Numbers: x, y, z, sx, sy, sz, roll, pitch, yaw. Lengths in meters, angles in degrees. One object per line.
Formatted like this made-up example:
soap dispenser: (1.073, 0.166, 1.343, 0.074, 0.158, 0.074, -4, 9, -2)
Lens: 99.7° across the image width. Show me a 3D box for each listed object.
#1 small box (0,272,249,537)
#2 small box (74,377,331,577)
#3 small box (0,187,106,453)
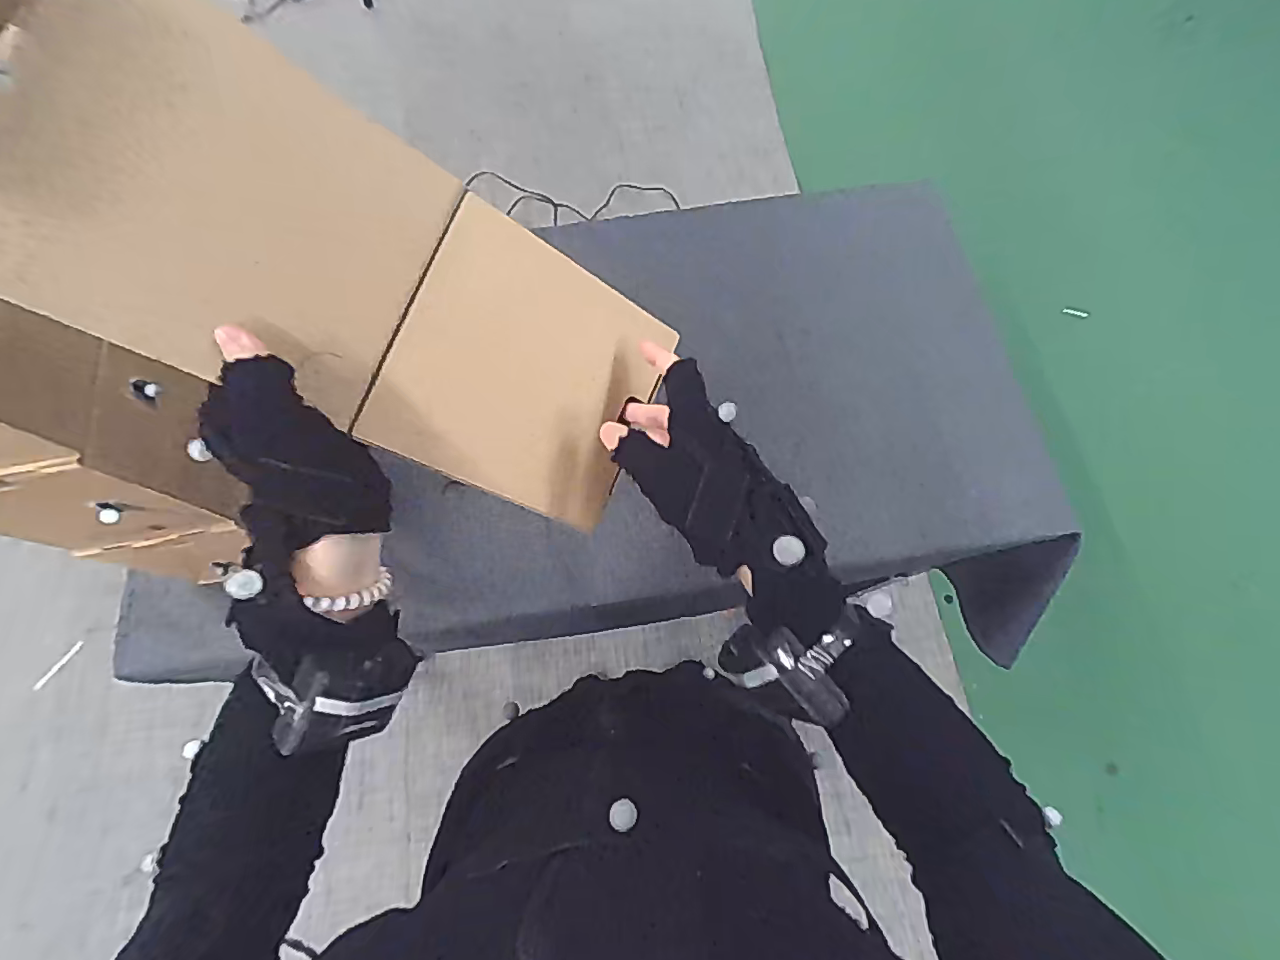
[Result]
small box: (-0.495, -0.053, 0.491, 0.168, 0.176, 0.179, -9, 70, -3)
small box: (-0.495, 0.005, 0.643, 0.168, 0.176, 0.179, -10, 71, -3)
small box: (-0.499, -0.115, 0.339, 0.168, 0.176, 0.179, -10, 70, -4)
